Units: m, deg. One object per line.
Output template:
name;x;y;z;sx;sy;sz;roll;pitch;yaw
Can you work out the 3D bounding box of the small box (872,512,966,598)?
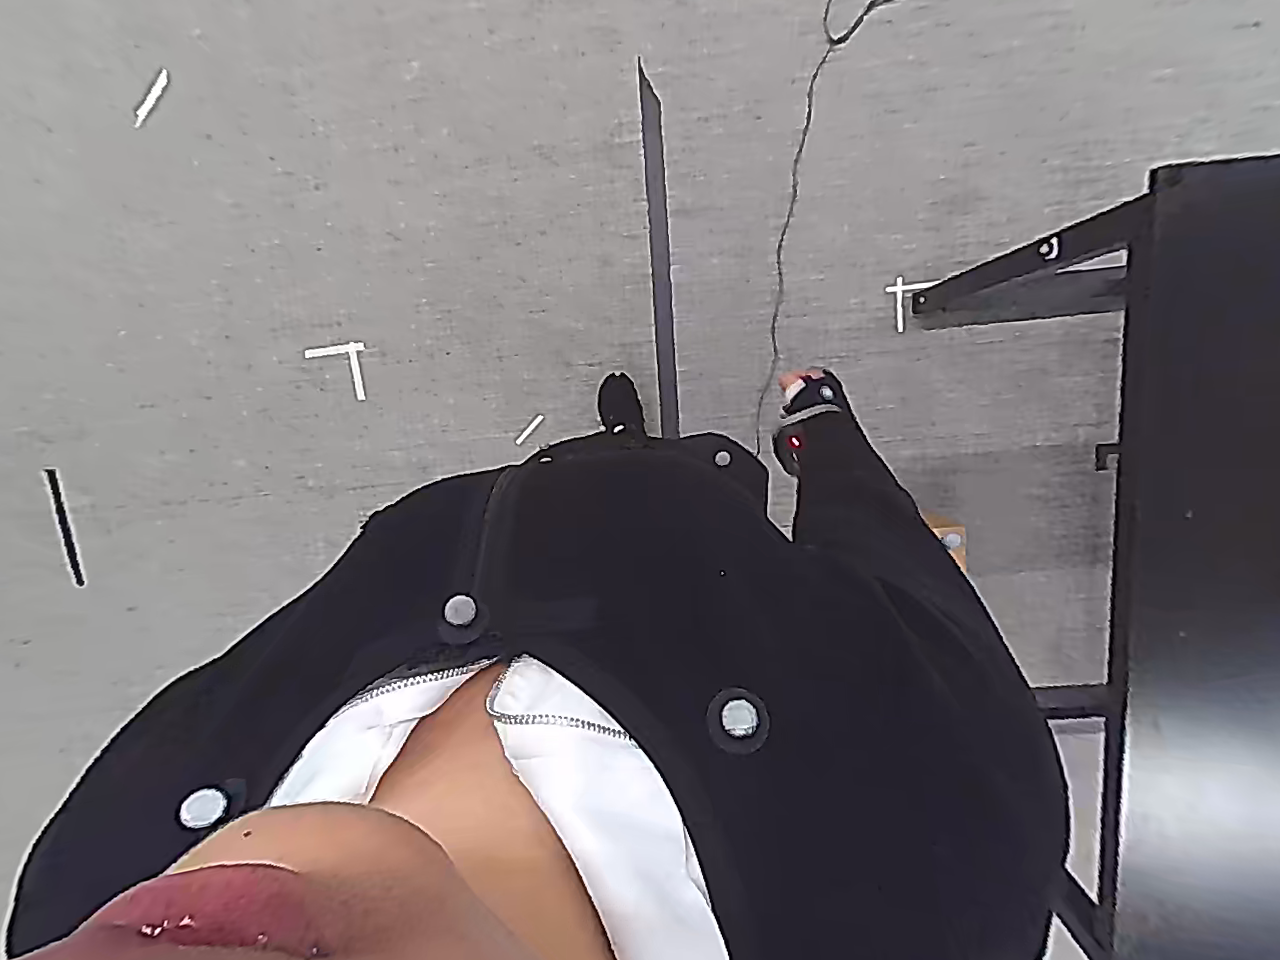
small box;0.707;0.187;1.385;0.168;0.176;0.179;-5;97;4
